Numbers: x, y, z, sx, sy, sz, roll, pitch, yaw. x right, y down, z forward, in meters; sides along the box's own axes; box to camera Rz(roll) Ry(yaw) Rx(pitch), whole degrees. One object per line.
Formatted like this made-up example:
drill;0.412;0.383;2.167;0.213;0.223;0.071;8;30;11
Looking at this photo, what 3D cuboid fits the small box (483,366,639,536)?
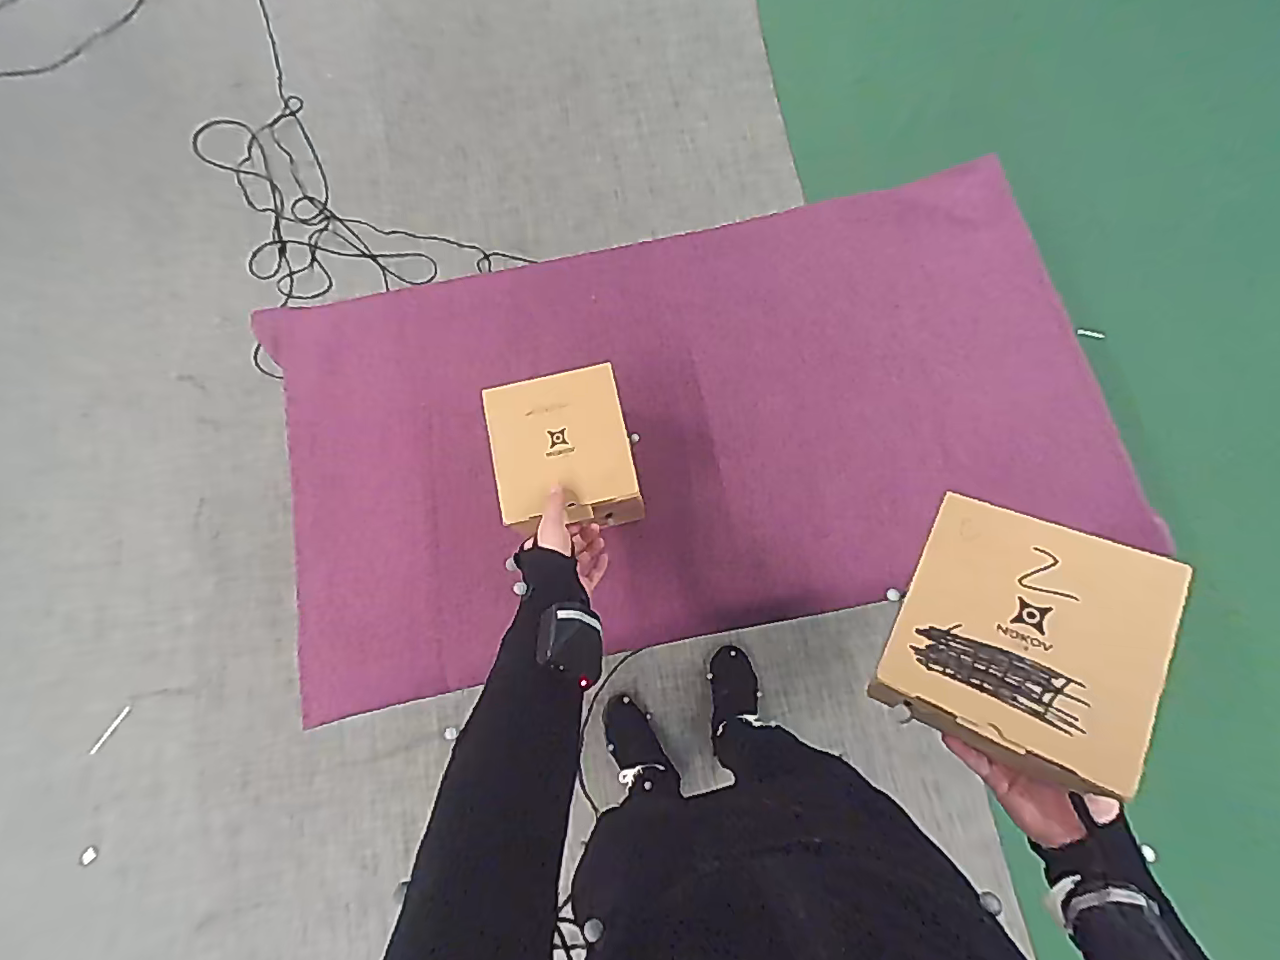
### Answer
small box;-0.097;-0.026;0.731;0.168;0.176;0.179;-12;75;-1
